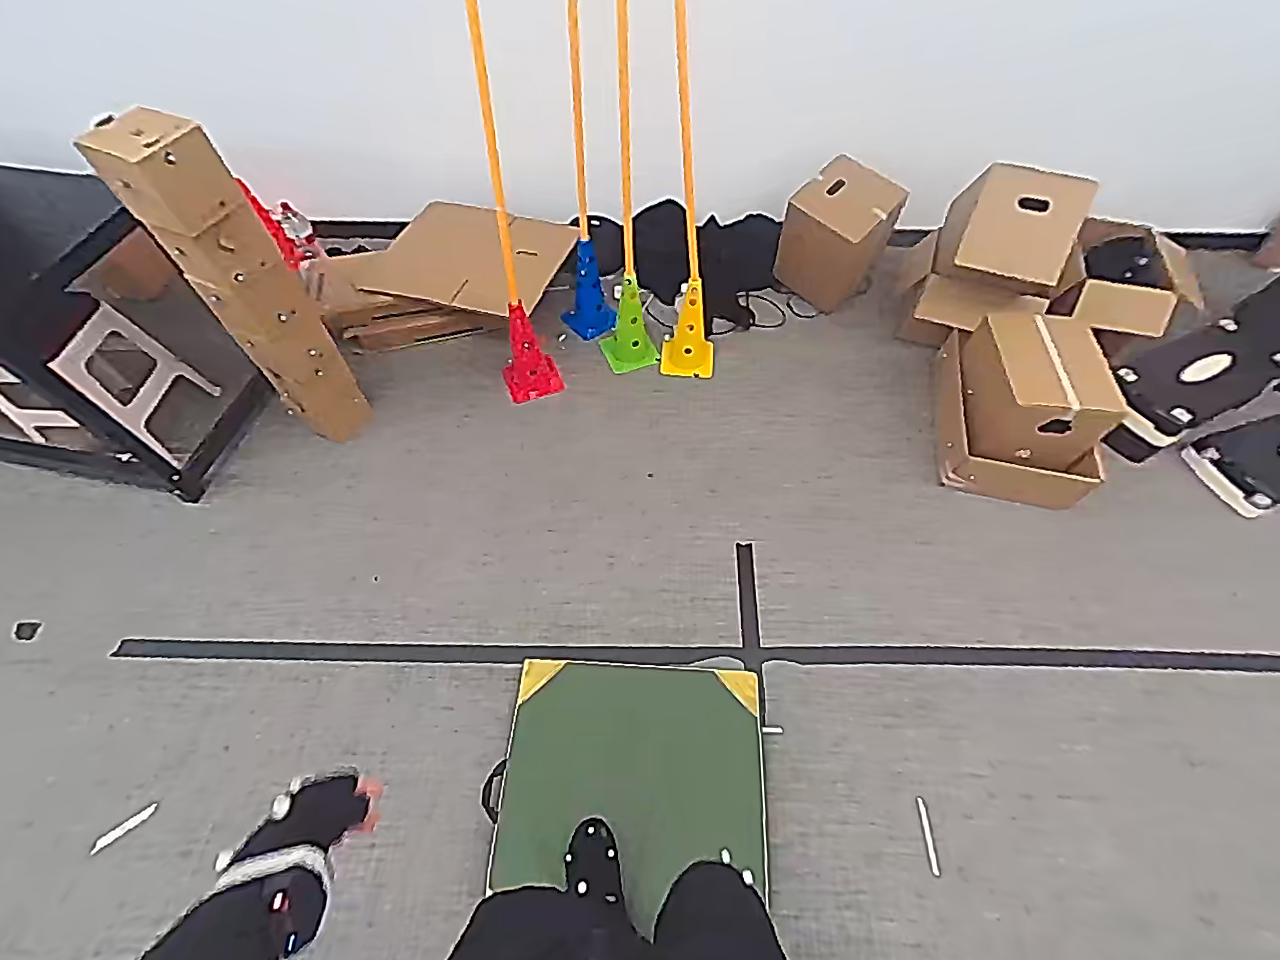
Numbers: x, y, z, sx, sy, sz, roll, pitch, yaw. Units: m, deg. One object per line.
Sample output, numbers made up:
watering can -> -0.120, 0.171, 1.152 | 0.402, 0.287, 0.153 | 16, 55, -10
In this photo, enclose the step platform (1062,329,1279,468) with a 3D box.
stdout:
step platform -> 1.898, -0.304, 1.938 | 0.684, 0.204, 0.286 | -23, 60, -15
